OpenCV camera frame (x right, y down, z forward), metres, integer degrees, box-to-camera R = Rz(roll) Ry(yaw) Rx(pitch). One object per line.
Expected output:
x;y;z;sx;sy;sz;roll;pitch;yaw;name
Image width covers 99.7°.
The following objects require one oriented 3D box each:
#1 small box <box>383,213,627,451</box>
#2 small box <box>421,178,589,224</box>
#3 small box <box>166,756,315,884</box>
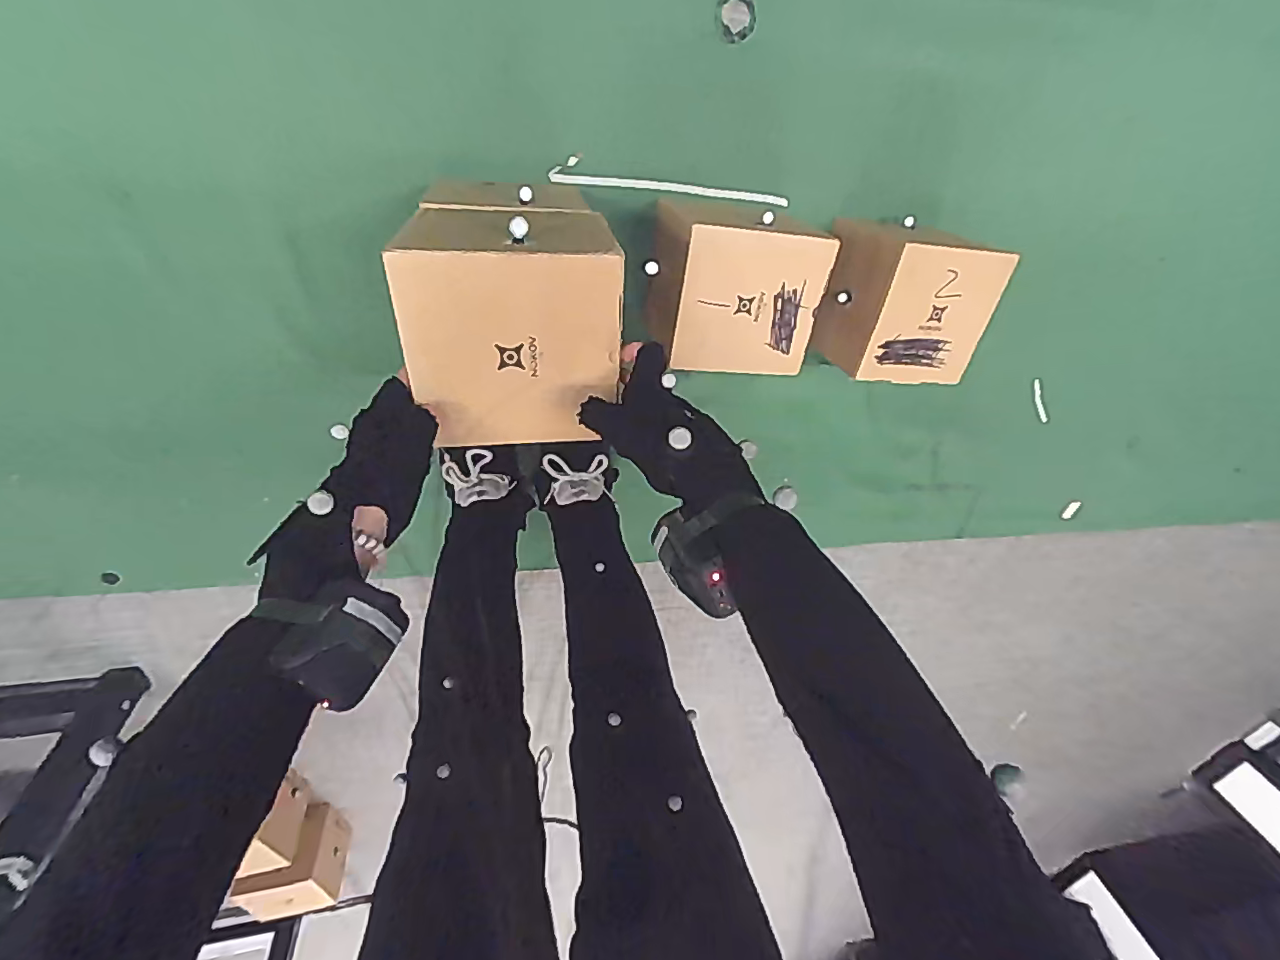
-0.113;-0.142;0.500;0.179;0.176;0.168;-4;126;-10;small box
-0.145;-0.235;0.629;0.168;0.176;0.179;-3;127;-11;small box
-0.848;0.732;1.170;0.179;0.176;0.168;-11;128;-5;small box
